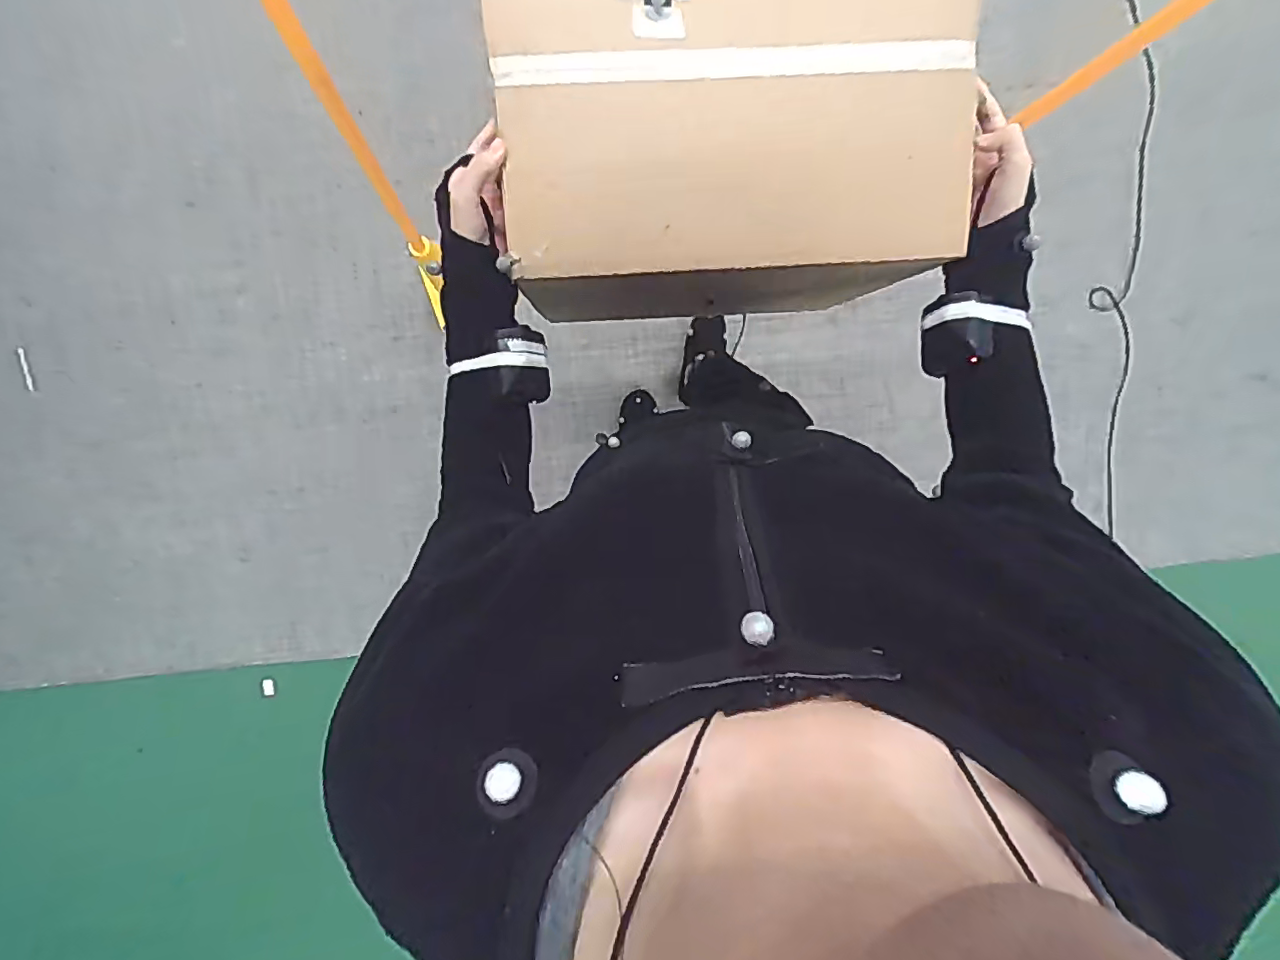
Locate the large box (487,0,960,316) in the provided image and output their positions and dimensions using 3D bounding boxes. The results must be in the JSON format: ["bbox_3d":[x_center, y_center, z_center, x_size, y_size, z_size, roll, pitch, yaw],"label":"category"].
[{"bbox_3d":[0.071,-0.370,0.607,0.408,0.320,0.320,-4,99,-2],"label":"large box"}]
